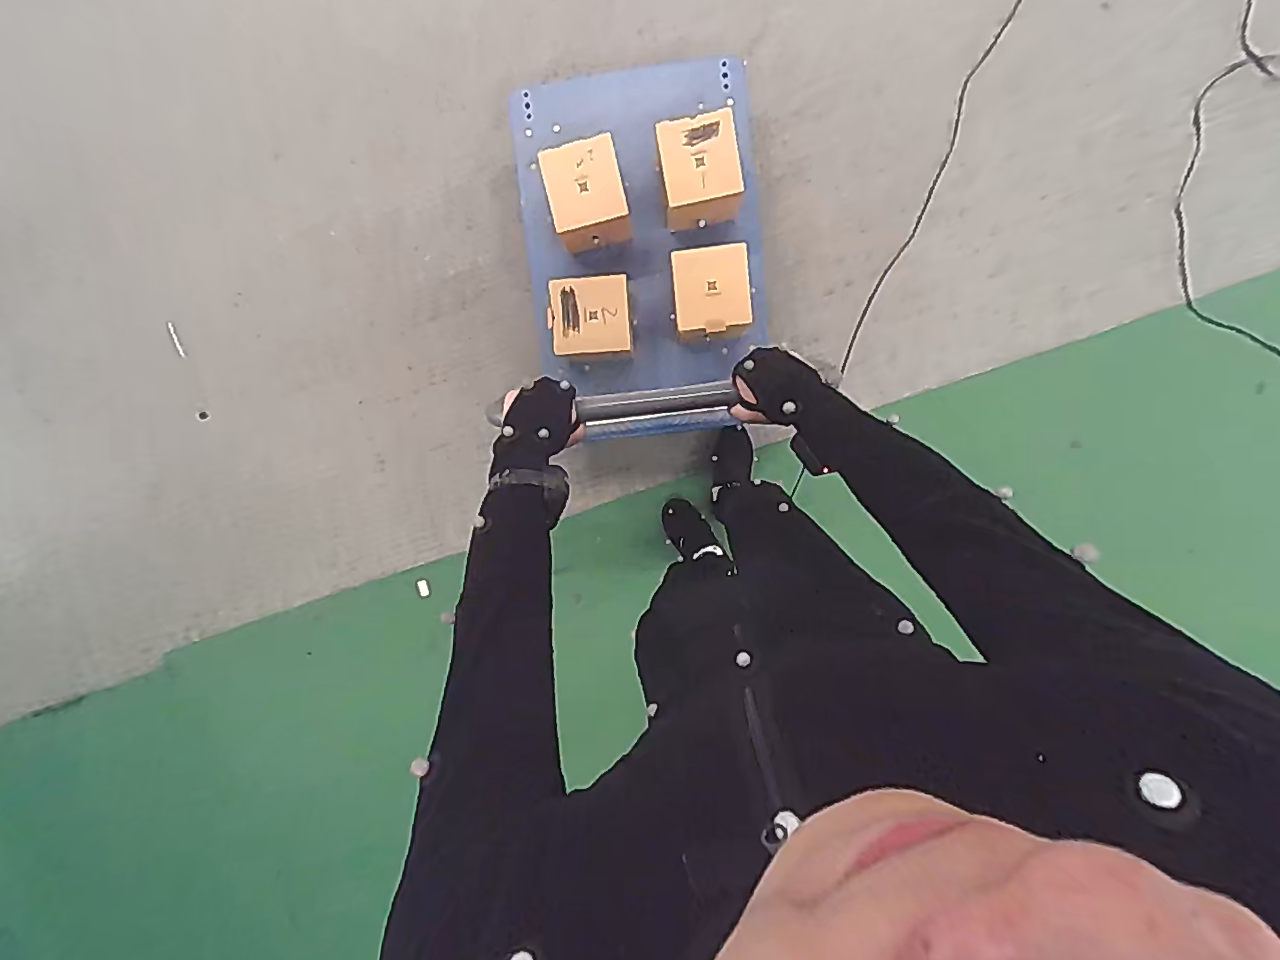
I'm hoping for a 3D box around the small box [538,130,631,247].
[{"bbox_3d":[-0.118,-0.656,1.244,0.168,0.176,0.179,-13,97,3],"label":"small box"}]

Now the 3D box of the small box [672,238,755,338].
[{"bbox_3d":[0.165,-0.440,1.259,0.168,0.176,0.179,-6,97,3],"label":"small box"}]

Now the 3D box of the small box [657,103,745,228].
[{"bbox_3d":[0.132,-0.704,1.228,0.168,0.176,0.179,-11,97,4],"label":"small box"}]
